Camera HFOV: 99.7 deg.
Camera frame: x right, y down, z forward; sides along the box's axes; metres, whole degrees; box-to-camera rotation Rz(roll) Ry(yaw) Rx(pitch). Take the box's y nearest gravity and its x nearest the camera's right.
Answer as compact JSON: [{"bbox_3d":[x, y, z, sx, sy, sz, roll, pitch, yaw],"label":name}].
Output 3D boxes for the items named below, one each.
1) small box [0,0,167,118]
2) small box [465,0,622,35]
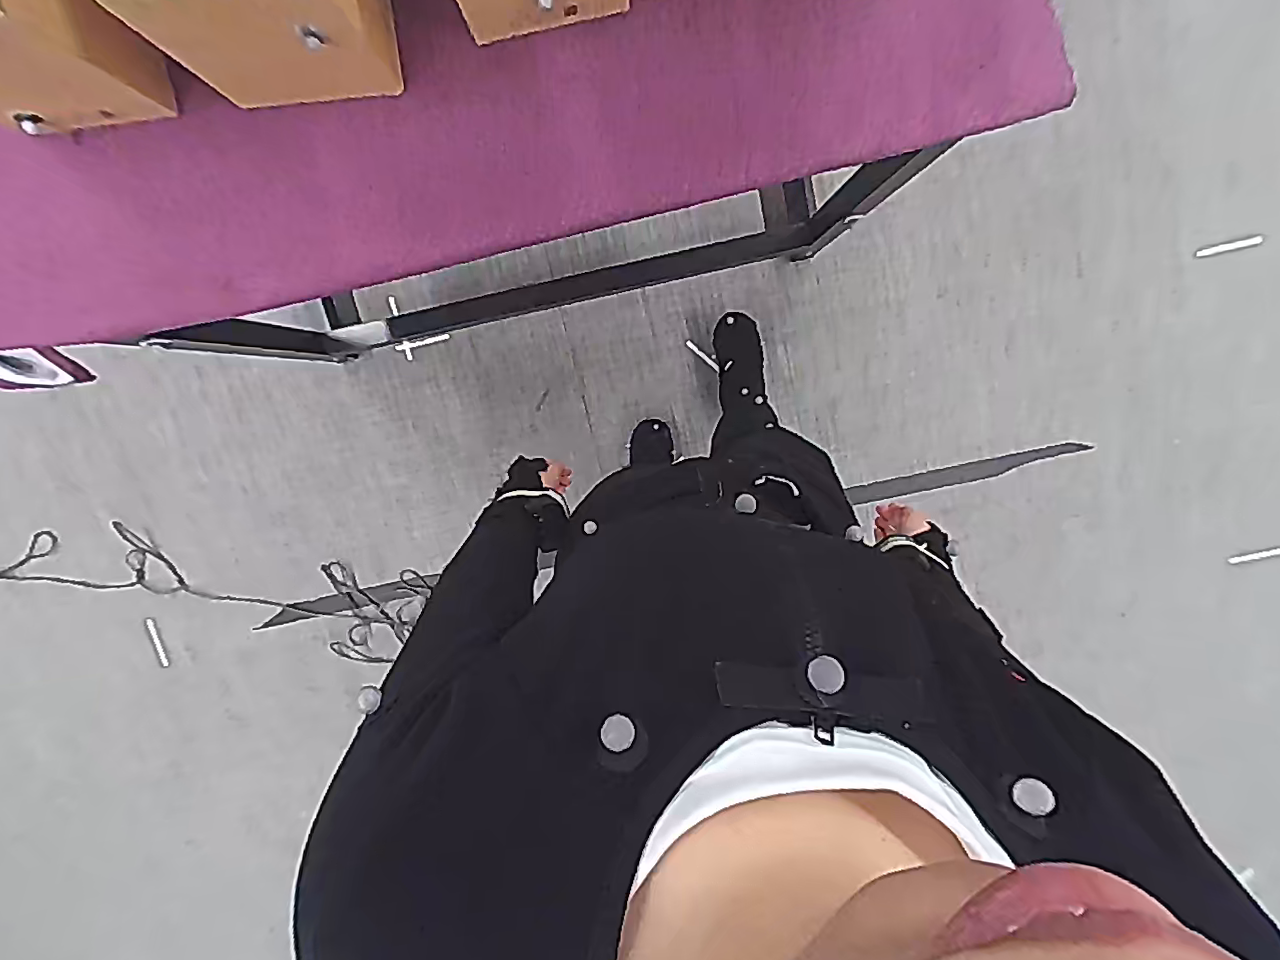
[{"bbox_3d":[-0.576,-0.450,0.477,0.168,0.176,0.179,-7,100,0],"label":"small box"},{"bbox_3d":[-0.108,-0.545,0.467,0.168,0.176,0.179,-11,99,2],"label":"small box"}]
